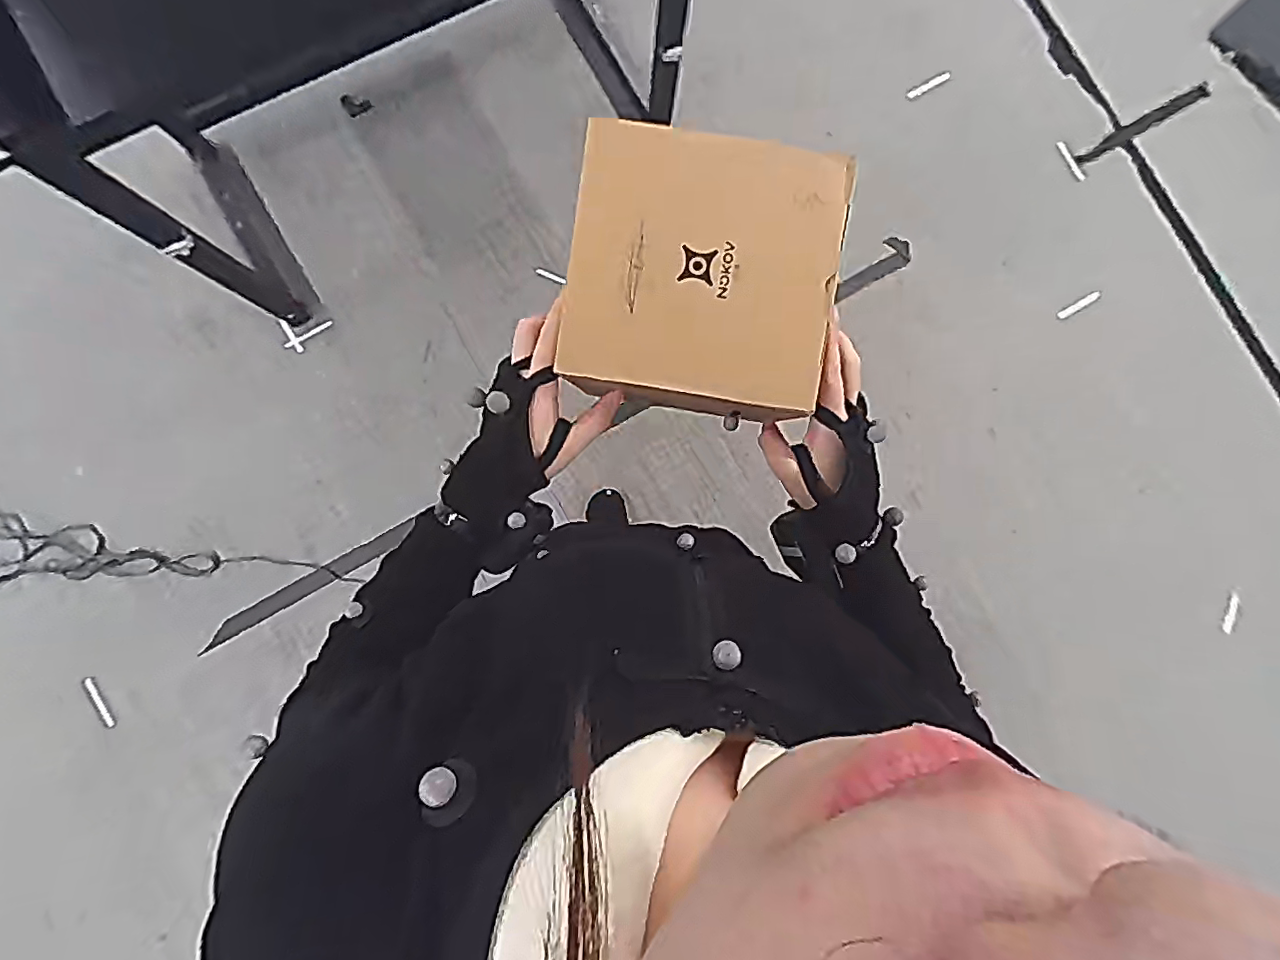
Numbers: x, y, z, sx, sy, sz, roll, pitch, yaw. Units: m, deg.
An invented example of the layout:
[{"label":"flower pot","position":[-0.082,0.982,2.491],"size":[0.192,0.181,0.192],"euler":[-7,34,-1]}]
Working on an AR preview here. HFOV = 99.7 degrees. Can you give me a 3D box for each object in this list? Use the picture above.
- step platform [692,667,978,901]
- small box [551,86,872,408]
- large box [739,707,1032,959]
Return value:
[{"label":"step platform","position":[0.489,0.756,1.384],"size":[0.684,0.204,0.286],"euler":[-24,88,-5]},{"label":"small box","position":[0.044,-0.150,0.411],"size":[0.179,0.176,0.168],"euler":[9,94,1]},{"label":"large box","position":[0.481,0.756,1.144],"size":[0.408,0.320,0.320],"euler":[-26,89,-6]}]
